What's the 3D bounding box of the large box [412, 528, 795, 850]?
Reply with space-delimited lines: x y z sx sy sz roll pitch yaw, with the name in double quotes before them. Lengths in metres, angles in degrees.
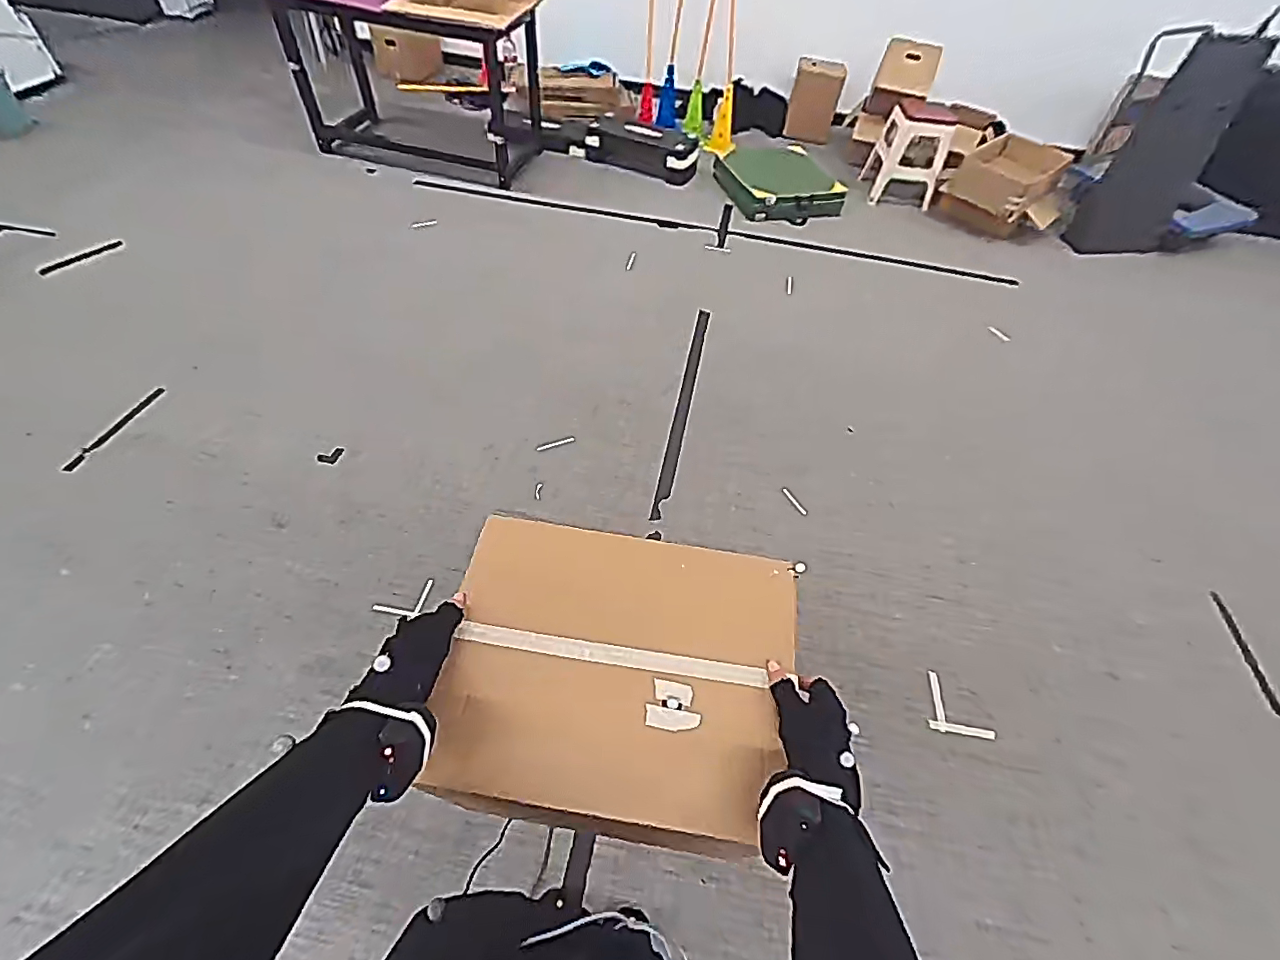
"large box" -0.032 0.299 0.754 0.408 0.320 0.320 9 55 2
